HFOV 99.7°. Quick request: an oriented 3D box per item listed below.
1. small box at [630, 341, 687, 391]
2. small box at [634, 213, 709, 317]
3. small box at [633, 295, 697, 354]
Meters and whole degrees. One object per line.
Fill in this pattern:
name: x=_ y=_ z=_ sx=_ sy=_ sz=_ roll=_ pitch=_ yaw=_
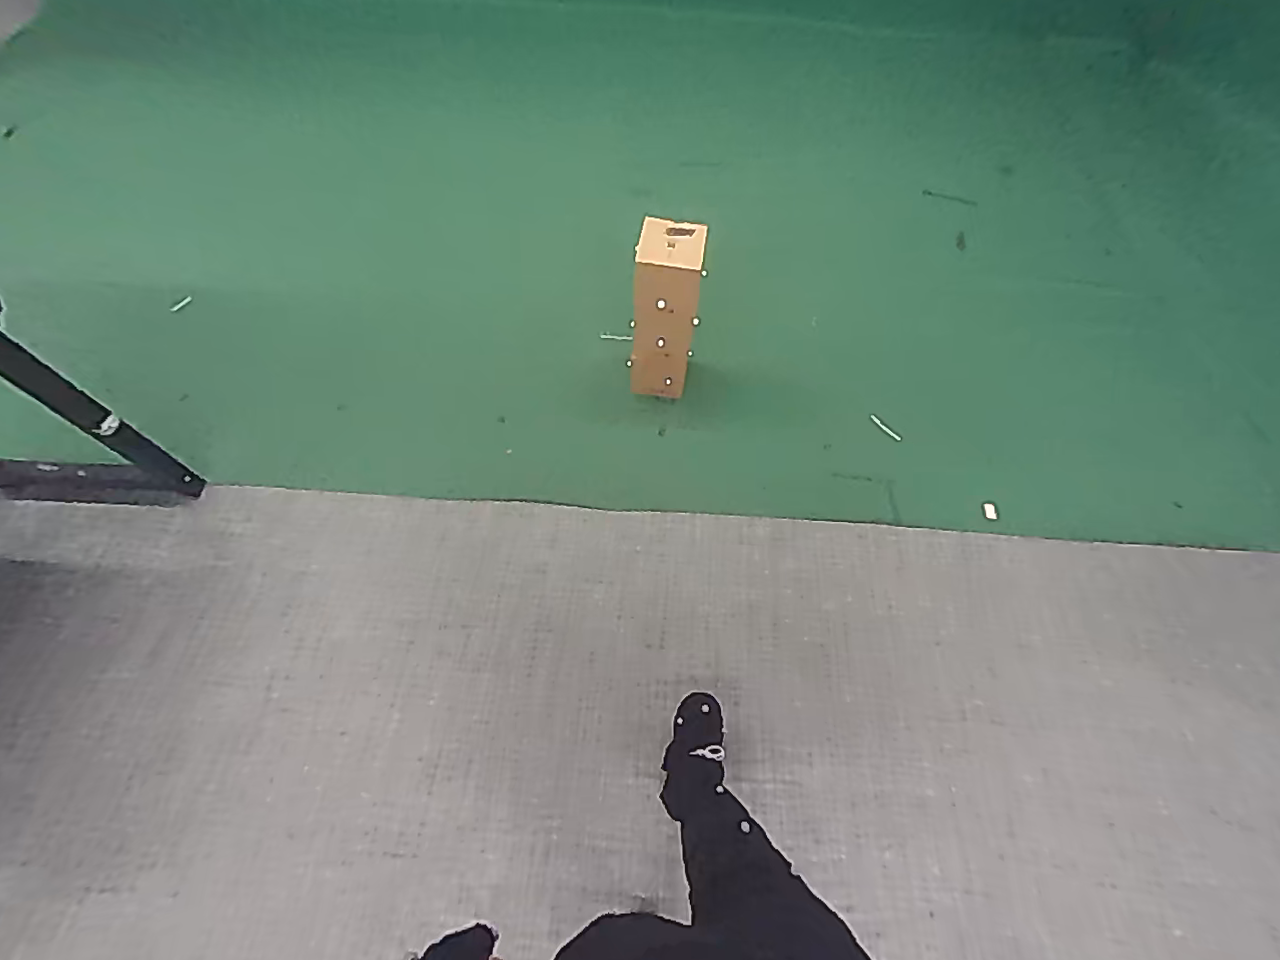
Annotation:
small box: x=0.063 y=-0.402 z=1.683 sx=0.168 sy=0.176 sz=0.179 roll=10 pitch=61 yaw=1
small box: x=0.078 y=-0.561 z=1.417 sx=0.168 sy=0.176 sz=0.179 roll=9 pitch=62 yaw=2
small box: x=0.073 y=-0.481 z=1.561 sx=0.168 sy=0.176 sz=0.179 roll=9 pitch=62 yaw=2
